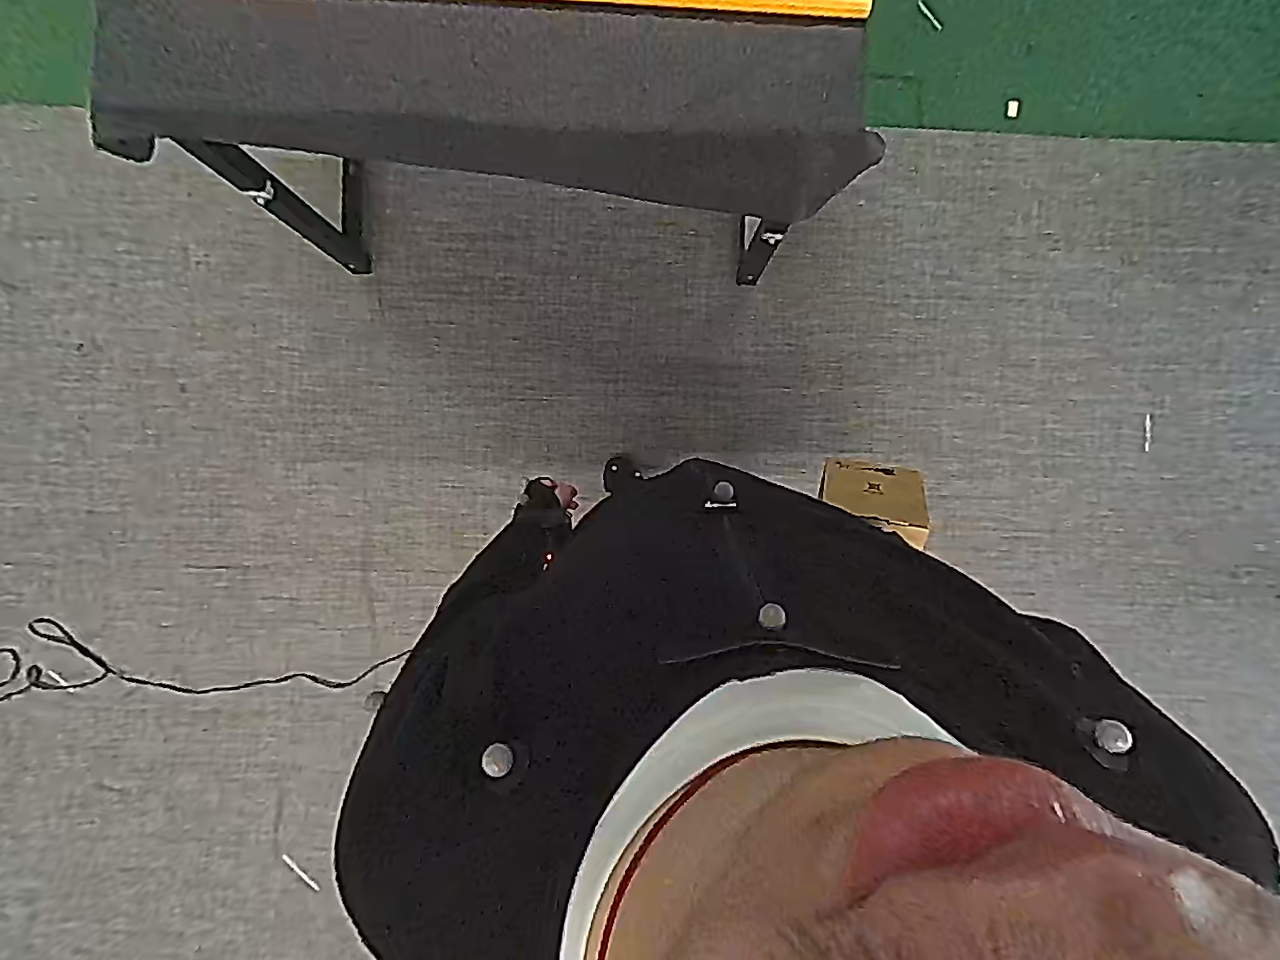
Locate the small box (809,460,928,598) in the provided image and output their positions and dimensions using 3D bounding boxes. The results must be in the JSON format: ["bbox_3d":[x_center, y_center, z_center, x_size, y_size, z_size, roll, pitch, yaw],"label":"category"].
[{"bbox_3d":[0.402,0.087,0.974,0.168,0.179,0.176,8,125,15],"label":"small box"}]
